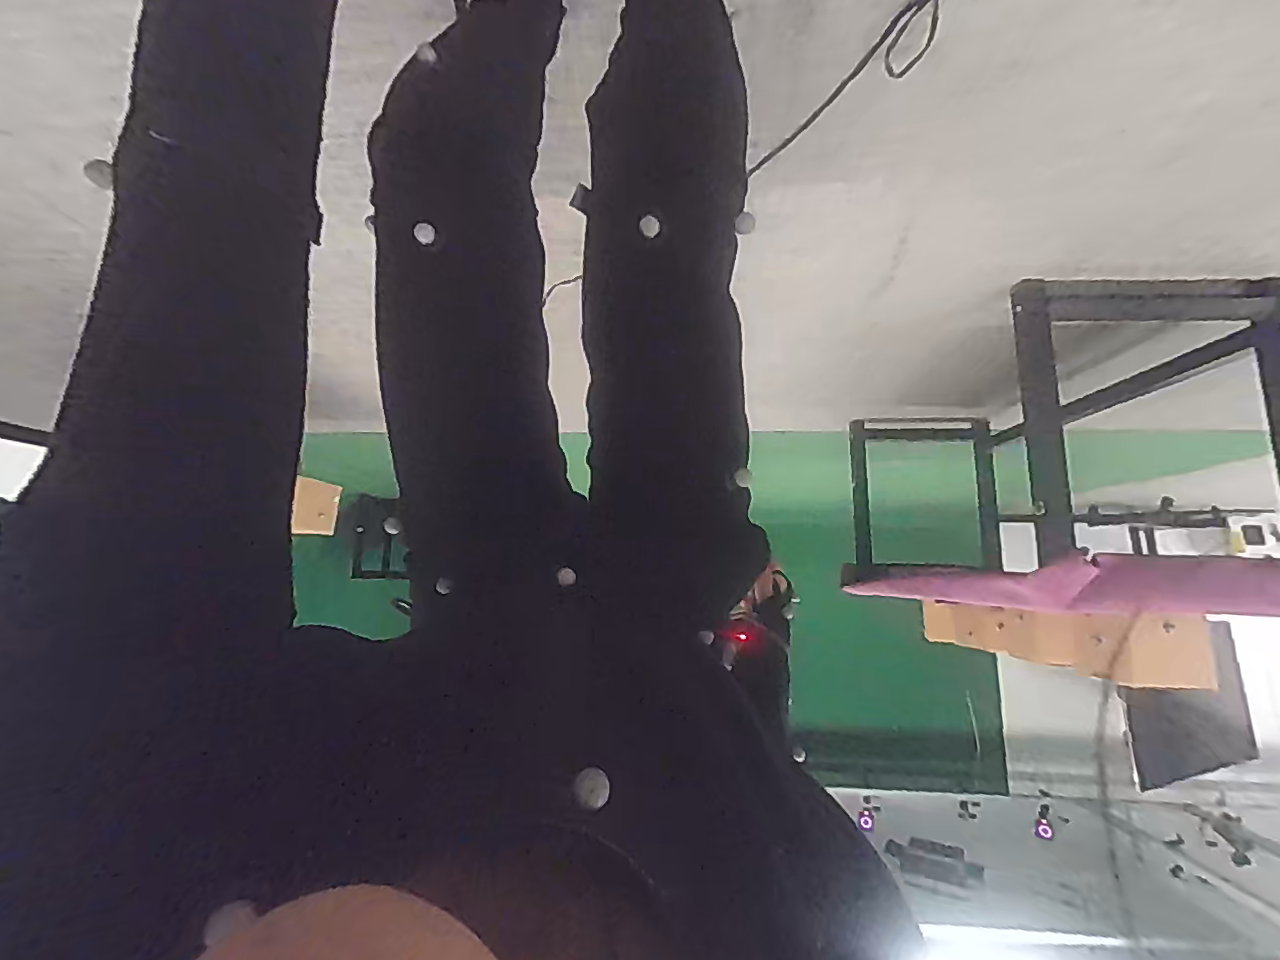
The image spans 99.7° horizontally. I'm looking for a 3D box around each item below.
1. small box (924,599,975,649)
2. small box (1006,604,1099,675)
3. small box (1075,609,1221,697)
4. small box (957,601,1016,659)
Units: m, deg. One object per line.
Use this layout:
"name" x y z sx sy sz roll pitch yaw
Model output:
"small box" 1.150 0.528 1.995 0.168 0.176 0.179 -4 168 23
"small box" 1.146 0.433 1.485 0.179 0.176 0.168 1 169 7
"small box" 1.133 0.383 1.222 0.179 0.176 0.168 2 170 2
"small box" 1.147 0.480 1.741 0.168 0.176 0.179 2 170 -1
